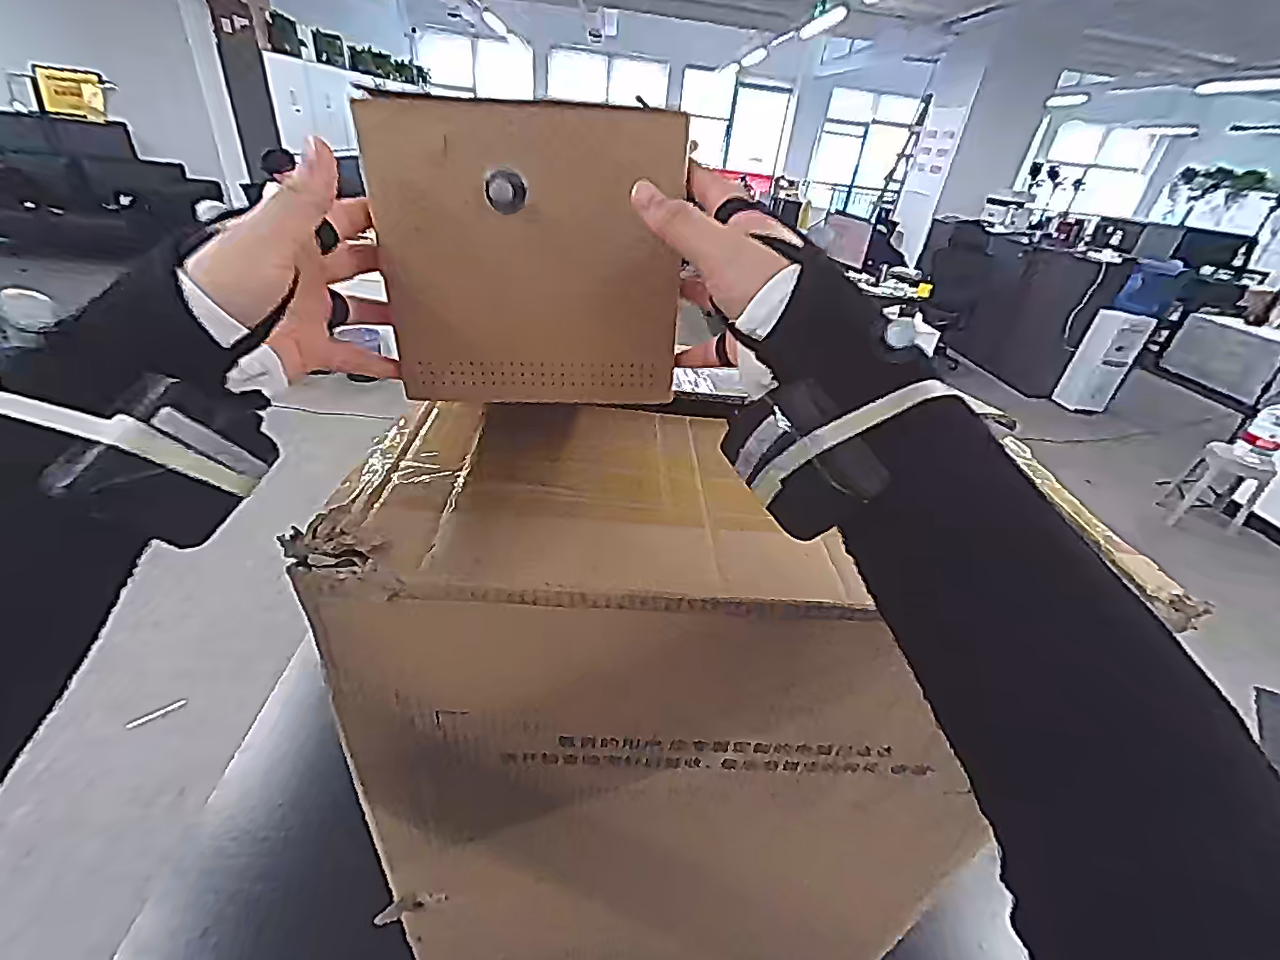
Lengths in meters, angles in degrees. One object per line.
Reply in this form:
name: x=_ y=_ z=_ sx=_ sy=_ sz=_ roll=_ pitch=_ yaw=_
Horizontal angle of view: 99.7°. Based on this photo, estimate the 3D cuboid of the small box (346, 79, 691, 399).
small box: x=-0.063 y=-0.161 z=0.376 sx=0.179 sy=0.176 sz=0.168 roll=0 pitch=30 yaw=-3
